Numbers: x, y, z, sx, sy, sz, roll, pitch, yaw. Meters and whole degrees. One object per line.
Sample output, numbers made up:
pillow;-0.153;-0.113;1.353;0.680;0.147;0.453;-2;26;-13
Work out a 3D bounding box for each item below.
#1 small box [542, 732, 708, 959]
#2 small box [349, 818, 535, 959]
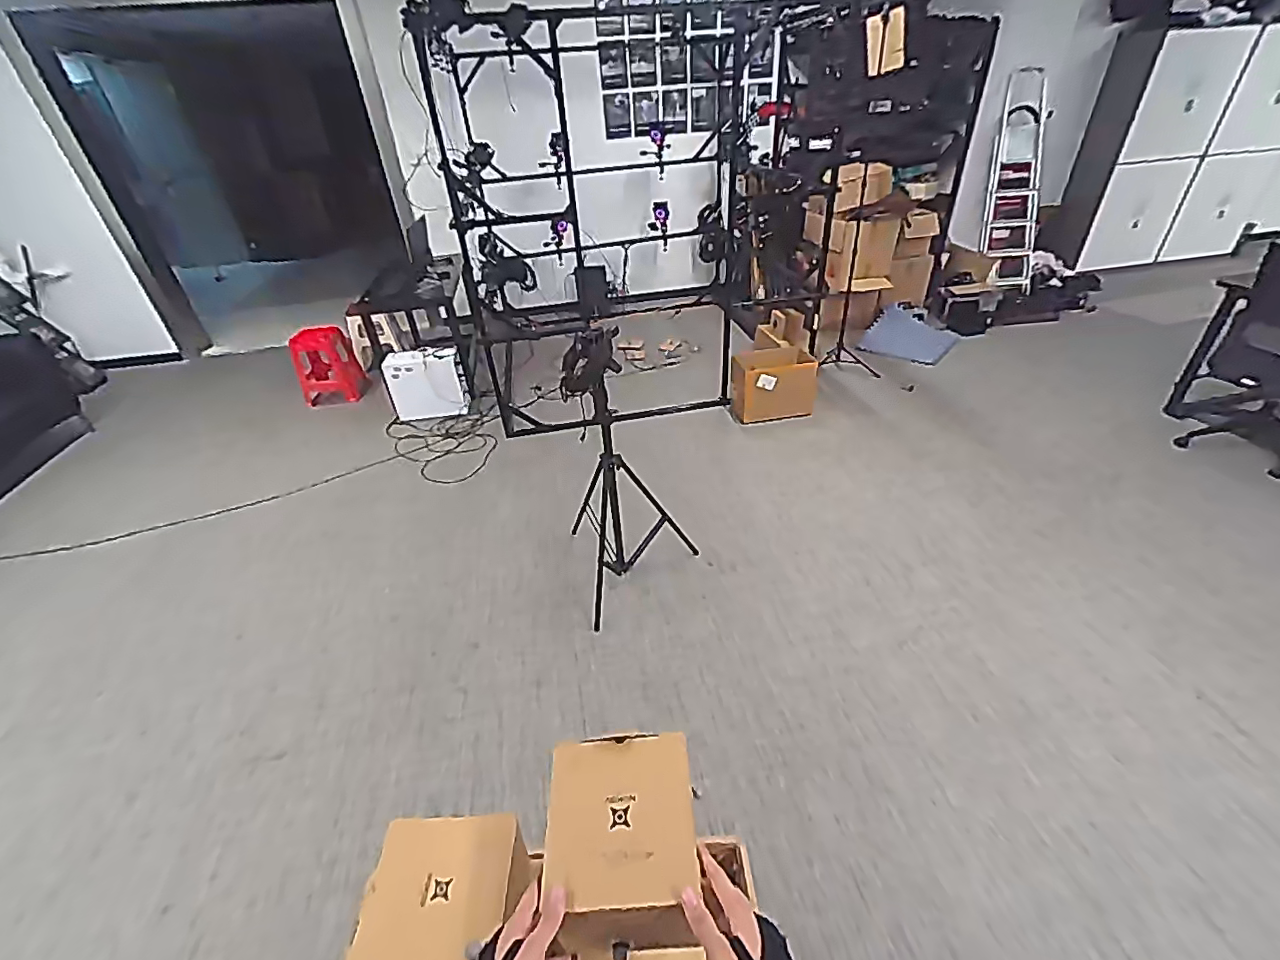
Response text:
small box;-0.011;0.434;0.647;0.168;0.176;0.179;-6;36;3
small box;-0.240;0.567;0.704;0.179;0.176;0.168;-3;34;0
